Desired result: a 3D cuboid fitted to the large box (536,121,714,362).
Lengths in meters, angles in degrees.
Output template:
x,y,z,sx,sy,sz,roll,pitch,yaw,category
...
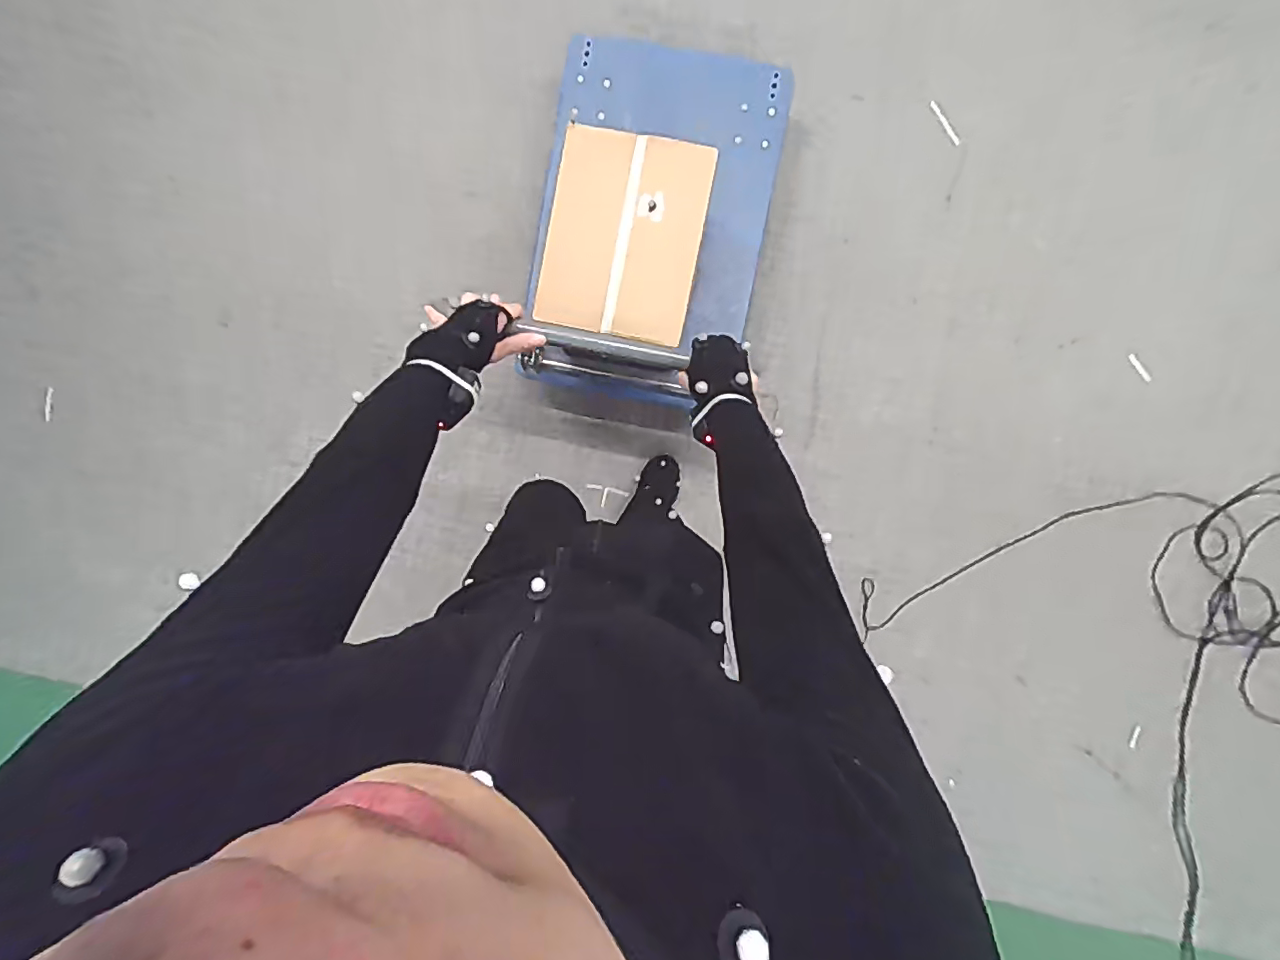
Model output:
x,y,z,sx,sy,sz,roll,pitch,yaw,category
-0.028,-0.516,1.252,0.320,0.320,0.408,11,93,1,large box
